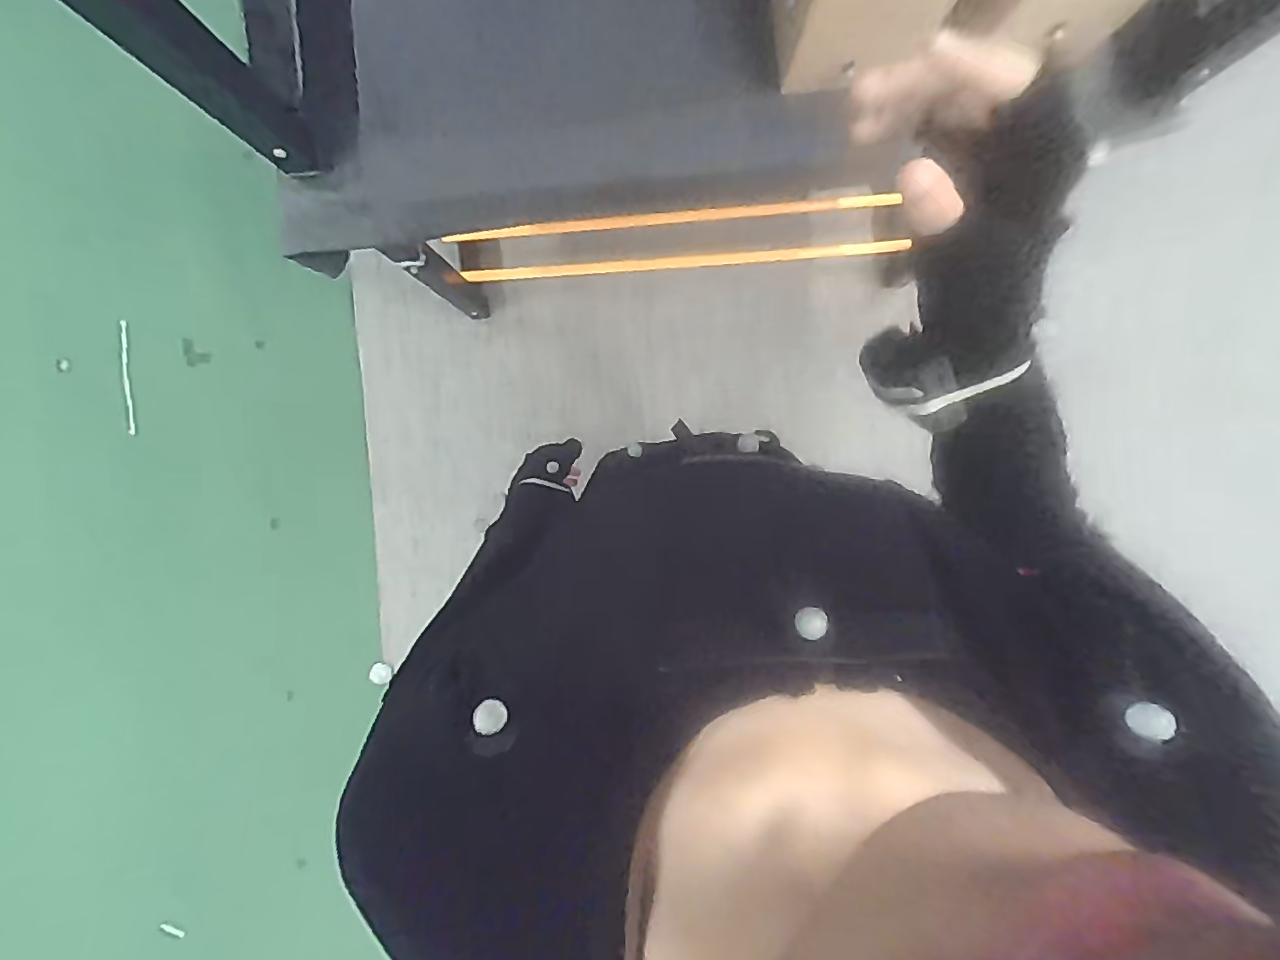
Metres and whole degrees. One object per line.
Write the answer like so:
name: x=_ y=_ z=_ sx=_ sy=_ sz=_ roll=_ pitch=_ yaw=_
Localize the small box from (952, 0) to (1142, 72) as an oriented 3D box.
small box: x=0.492 y=-0.619 z=0.633 sx=0.168 sy=0.176 sz=0.179 roll=-8 pitch=92 yaw=1
